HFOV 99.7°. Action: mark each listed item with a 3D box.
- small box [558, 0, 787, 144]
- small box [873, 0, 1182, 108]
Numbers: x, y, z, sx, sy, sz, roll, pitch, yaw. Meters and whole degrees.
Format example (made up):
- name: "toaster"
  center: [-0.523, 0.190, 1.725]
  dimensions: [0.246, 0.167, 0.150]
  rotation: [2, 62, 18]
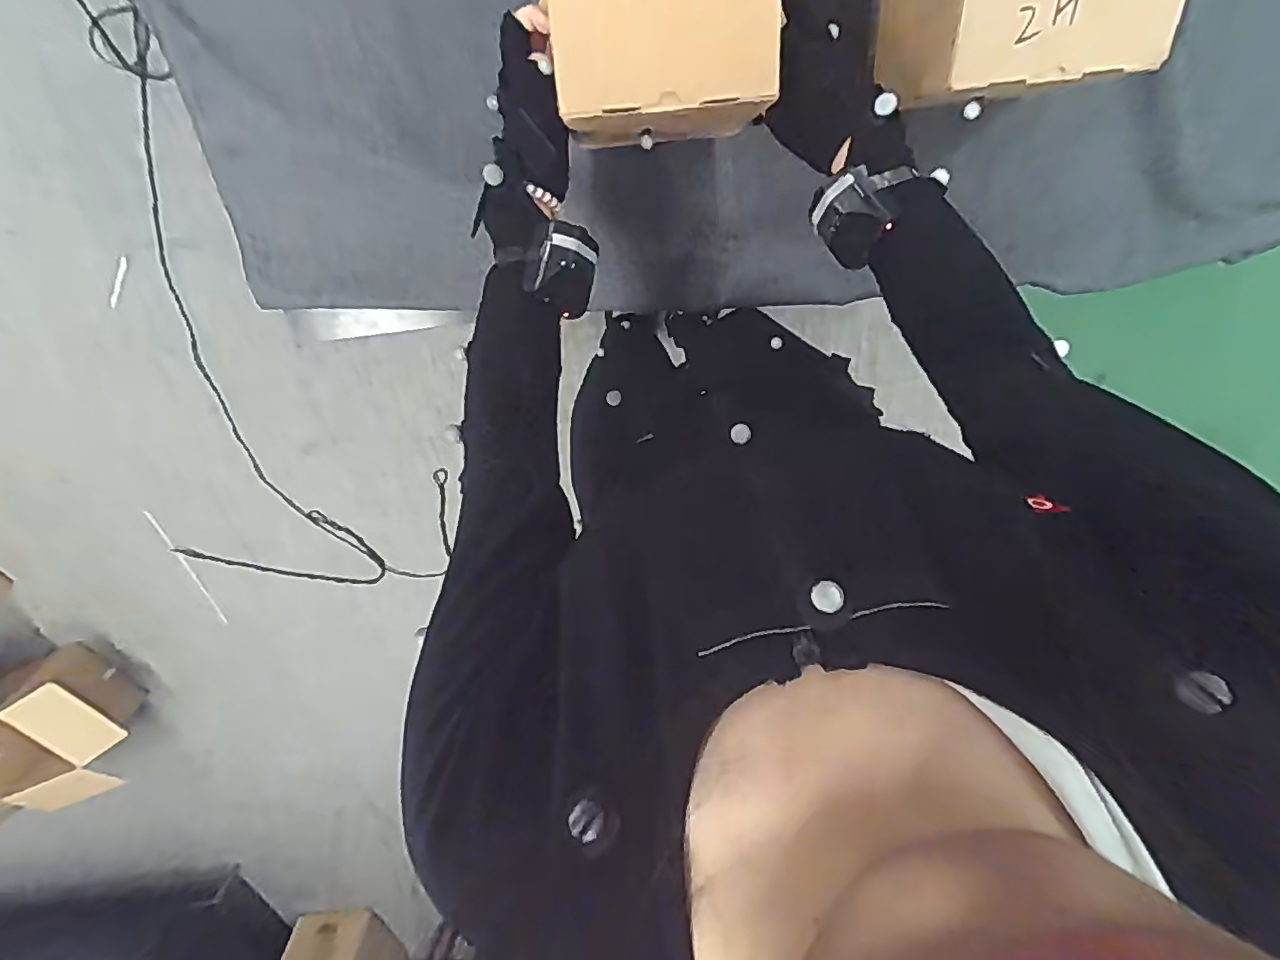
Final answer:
- name: "small box"
  center: [0.016, -0.395, 0.444]
  dimensions: [0.168, 0.176, 0.179]
  rotation: [-6, 116, -1]
- name: "small box"
  center: [0.313, -0.429, 0.449]
  dimensions: [0.168, 0.176, 0.179]
  rotation: [-5, 120, 1]
